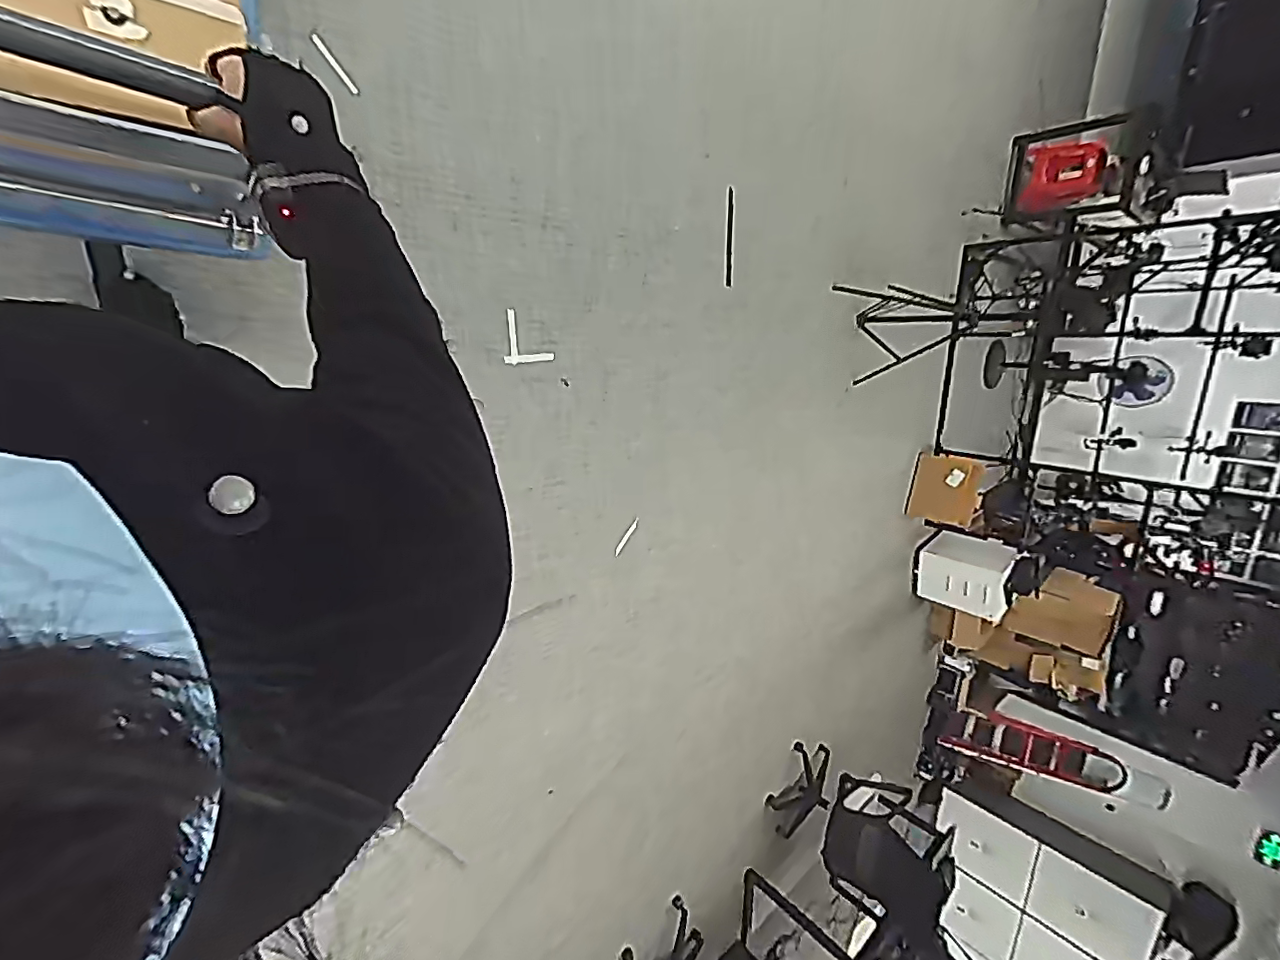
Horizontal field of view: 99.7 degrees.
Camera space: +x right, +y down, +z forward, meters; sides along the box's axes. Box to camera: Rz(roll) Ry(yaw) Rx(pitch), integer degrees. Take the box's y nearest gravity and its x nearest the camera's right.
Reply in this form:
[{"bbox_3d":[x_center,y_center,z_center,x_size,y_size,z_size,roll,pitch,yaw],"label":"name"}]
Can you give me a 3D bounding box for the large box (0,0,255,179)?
[{"bbox_3d":[-0.811,-0.642,0.729,0.408,0.320,0.320,-12,110,-42],"label":"large box"}]
